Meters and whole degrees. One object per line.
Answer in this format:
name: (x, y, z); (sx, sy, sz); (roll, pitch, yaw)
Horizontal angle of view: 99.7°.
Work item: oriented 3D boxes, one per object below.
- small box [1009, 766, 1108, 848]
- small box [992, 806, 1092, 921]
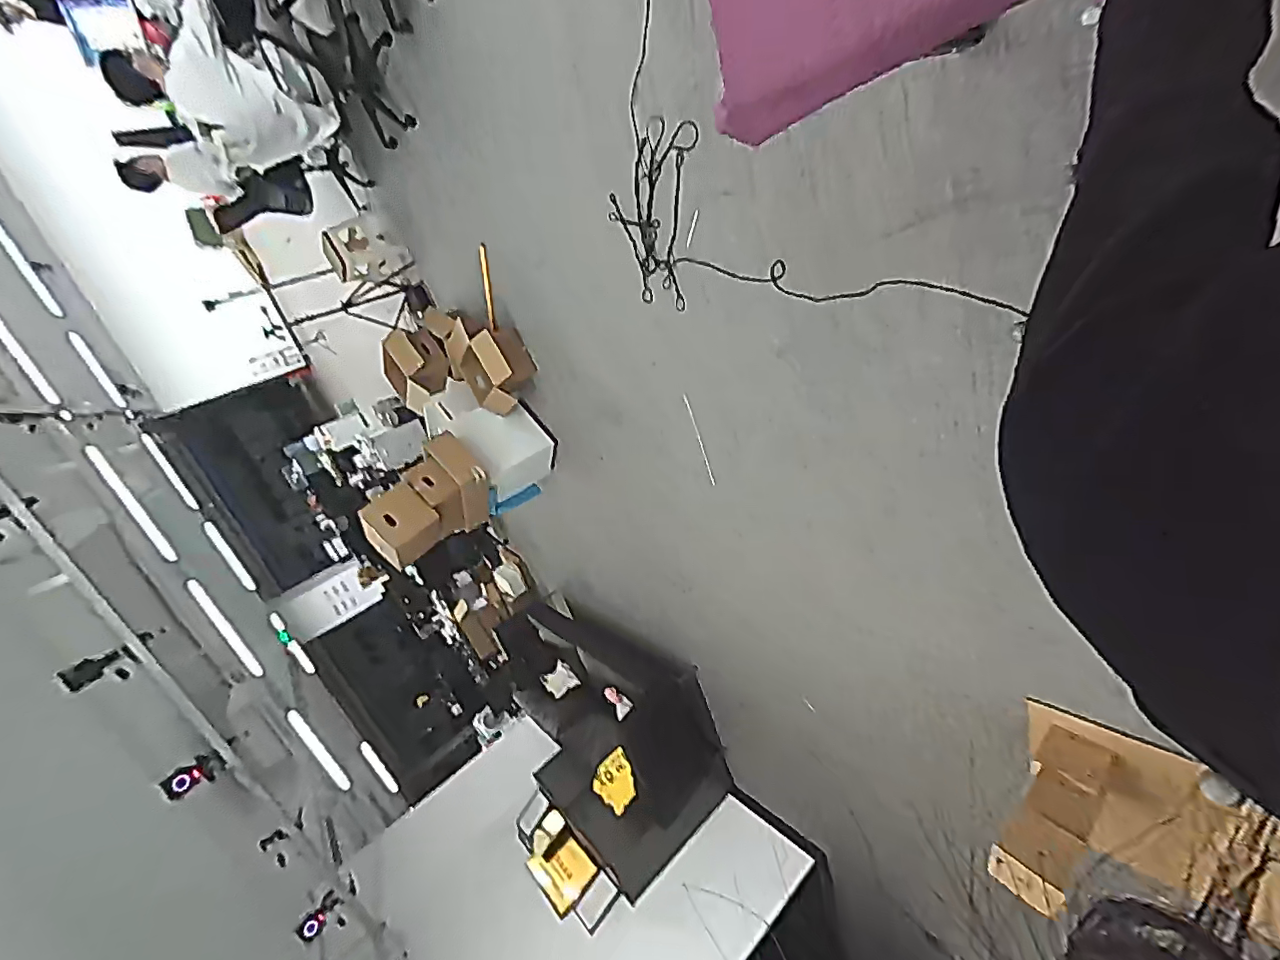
small box: (1.257, 1.010, 1.623); (0.168, 0.176, 0.179); (32, 142, 39)
small box: (1.139, 1.077, 1.531); (0.179, 0.176, 0.168); (24, 137, 45)
